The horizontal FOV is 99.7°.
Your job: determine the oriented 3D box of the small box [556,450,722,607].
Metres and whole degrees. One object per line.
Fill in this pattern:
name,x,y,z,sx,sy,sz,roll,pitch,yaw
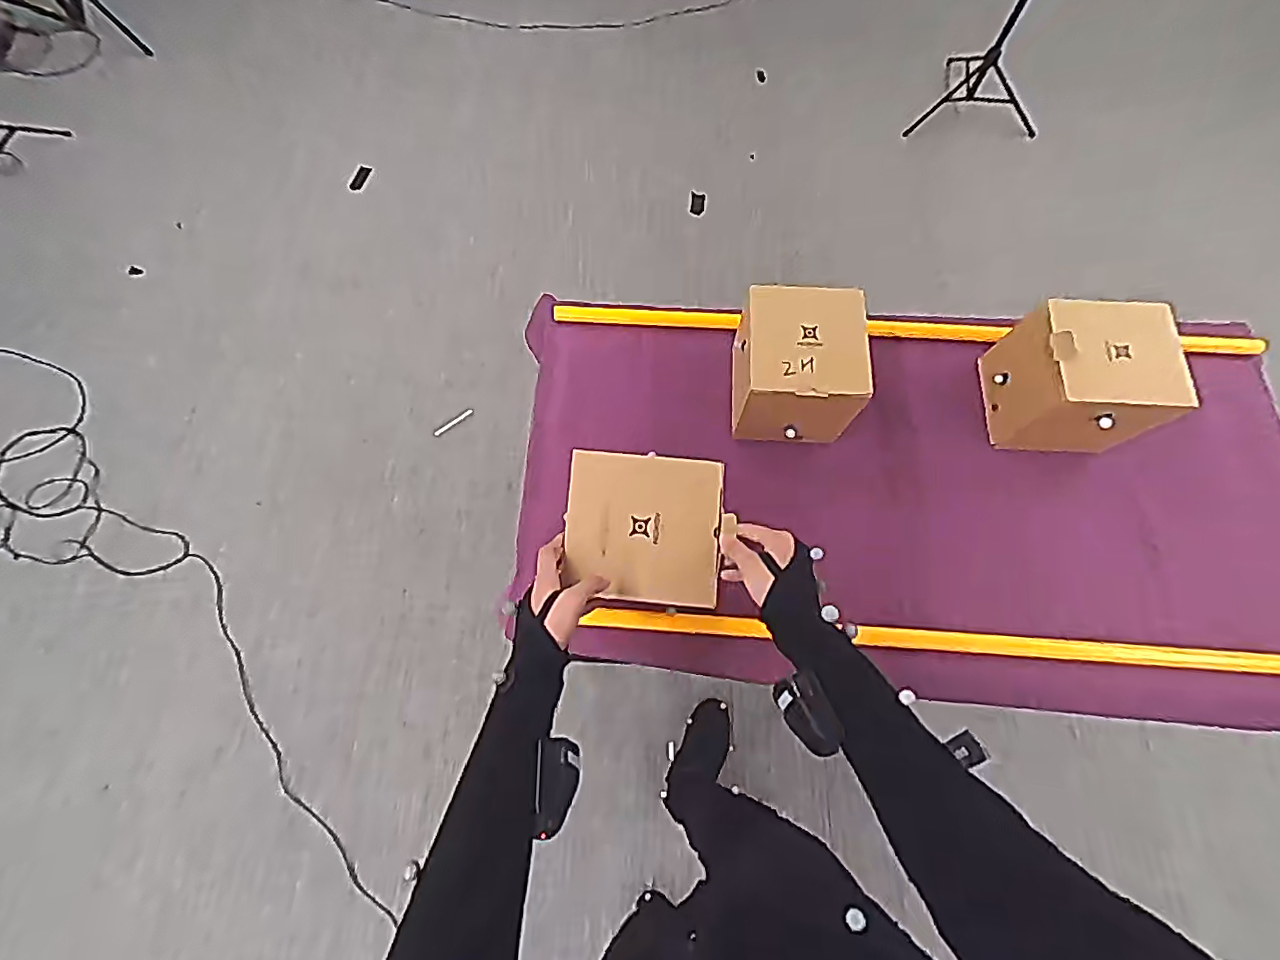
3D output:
small box,-0.002,0.067,0.684,0.179,0.176,0.168,5,79,-1

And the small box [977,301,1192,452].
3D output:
small box,0.654,-0.148,0.820,0.179,0.176,0.168,3,71,2

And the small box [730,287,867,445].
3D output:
small box,0.231,-0.169,0.832,0.168,0.176,0.179,3,72,2
